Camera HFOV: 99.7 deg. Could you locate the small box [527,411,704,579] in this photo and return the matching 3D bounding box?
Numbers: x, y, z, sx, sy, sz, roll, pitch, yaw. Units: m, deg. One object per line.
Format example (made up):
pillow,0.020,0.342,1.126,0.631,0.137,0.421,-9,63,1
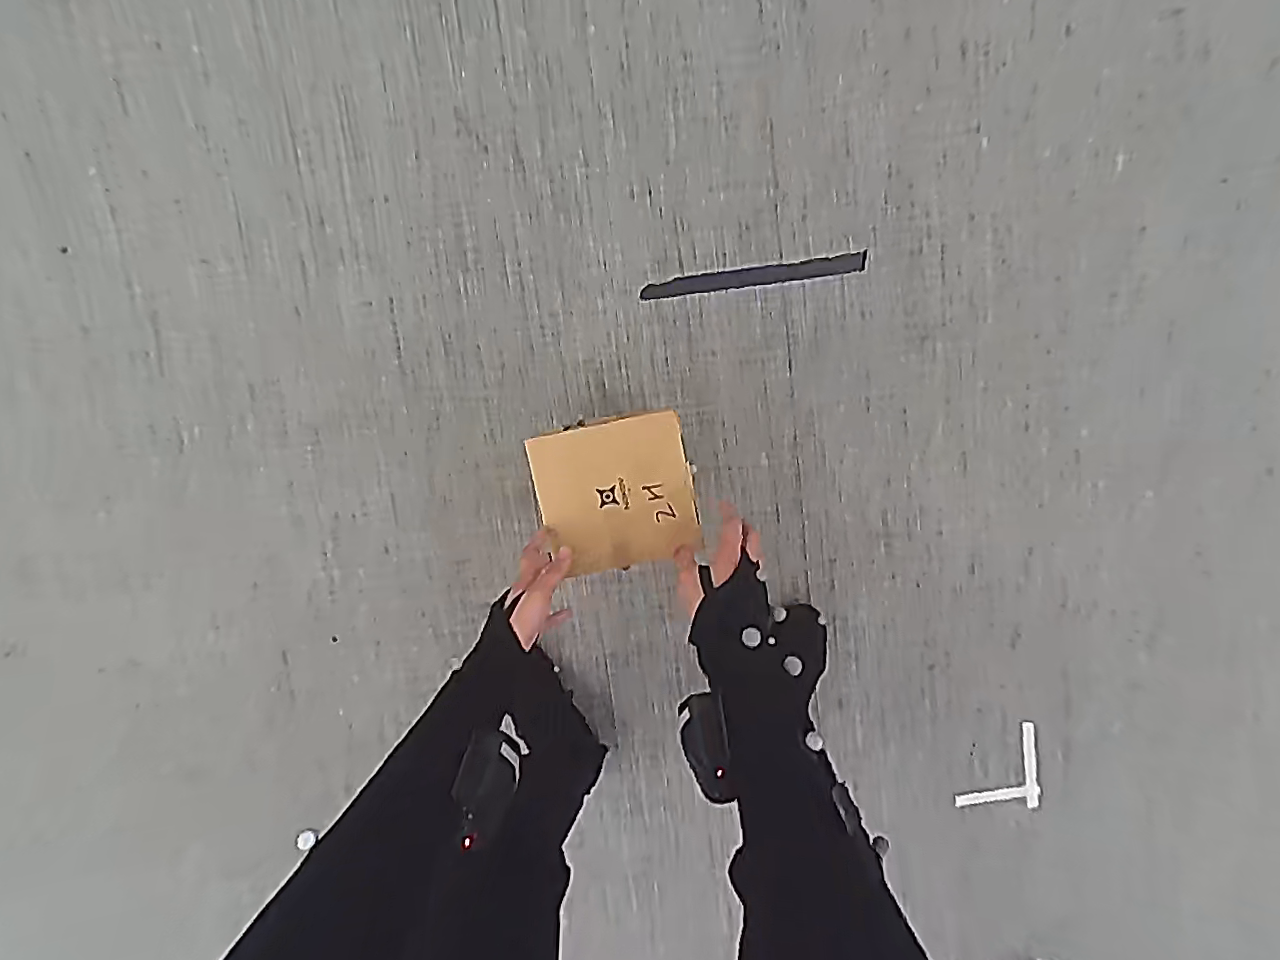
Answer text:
small box,-0.023,0.010,0.681,0.179,0.176,0.168,-11,98,2
